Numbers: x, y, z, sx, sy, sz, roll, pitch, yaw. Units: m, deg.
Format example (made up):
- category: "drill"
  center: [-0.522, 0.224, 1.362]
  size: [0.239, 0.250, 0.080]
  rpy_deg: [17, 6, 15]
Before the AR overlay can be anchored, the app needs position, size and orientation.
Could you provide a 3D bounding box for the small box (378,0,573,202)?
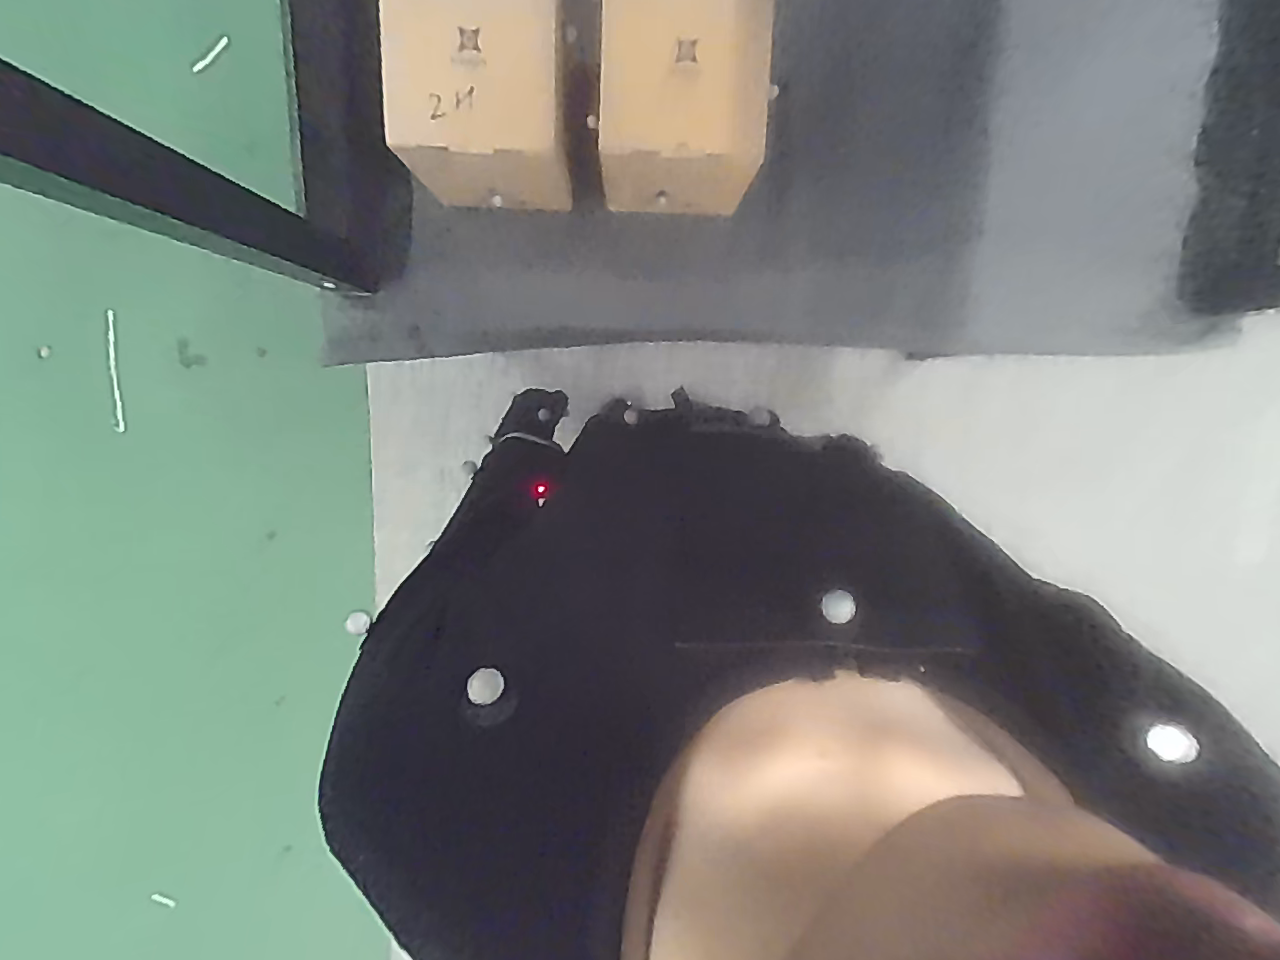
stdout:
- category: "small box"
  center: [-0.164, -0.427, 0.585]
  size: [0.168, 0.176, 0.179]
  rpy_deg: [2, 99, -1]
